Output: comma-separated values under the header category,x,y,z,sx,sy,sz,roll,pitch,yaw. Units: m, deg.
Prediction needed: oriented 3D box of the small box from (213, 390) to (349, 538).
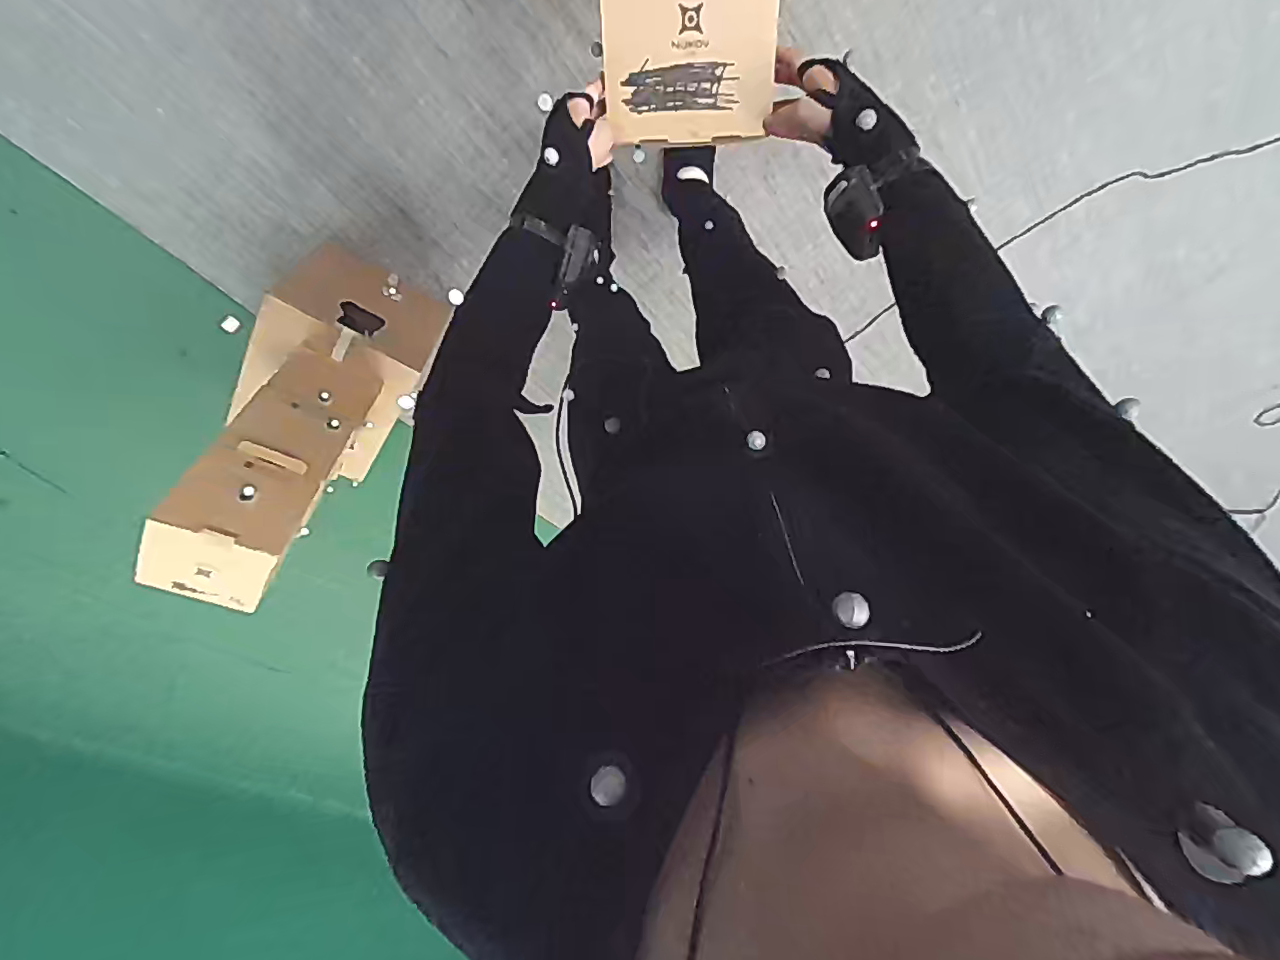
category,x,y,z,sx,sy,sz,roll,pitch,yaw
small box,-0.658,-0.032,0.985,0.168,0.176,0.179,27,126,-25

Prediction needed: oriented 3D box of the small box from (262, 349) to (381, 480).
category,x,y,z,sx,sy,sz,roll,pitch,yaw
small box,-0.663,-0.138,1.109,0.179,0.176,0.168,29,125,-25

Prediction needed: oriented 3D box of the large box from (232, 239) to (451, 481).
category,x,y,z,sx,sy,sz,roll,pitch,yaw
large box,-0.707,-0.281,1.307,0.320,0.320,0.408,28,126,-24

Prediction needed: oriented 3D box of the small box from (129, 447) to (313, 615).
category,x,y,z,sx,sy,sz,roll,pitch,yaw
small box,-0.655,0.079,0.863,0.168,0.176,0.179,28,124,-25
